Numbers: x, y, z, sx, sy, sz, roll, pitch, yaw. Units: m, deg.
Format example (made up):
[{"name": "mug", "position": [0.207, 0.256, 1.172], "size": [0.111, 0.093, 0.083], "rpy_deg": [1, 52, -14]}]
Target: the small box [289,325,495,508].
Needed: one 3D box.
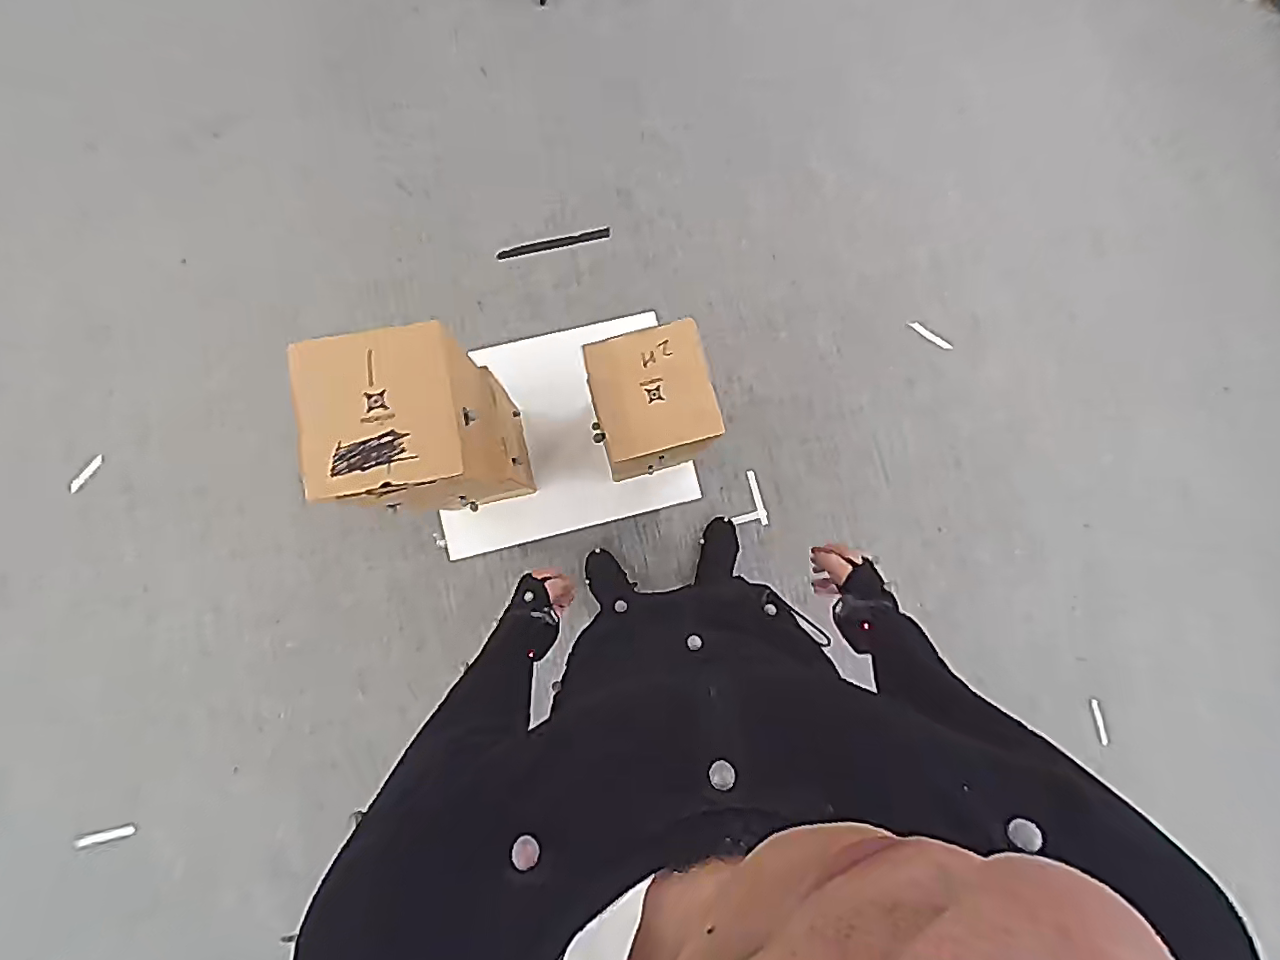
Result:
[{"name": "small box", "position": [-0.283, -0.063, 0.652], "size": [0.168, 0.176, 0.179], "rpy_deg": [-10, 85, -4]}]

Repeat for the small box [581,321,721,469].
[{"name": "small box", "position": [0.013, -0.118, 0.837], "size": [0.168, 0.176, 0.179], "rpy_deg": [-15, 86, -4]}]

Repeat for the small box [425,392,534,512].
[{"name": "small box", "position": [-0.297, -0.043, 0.981], "size": [0.168, 0.176, 0.179], "rpy_deg": [-13, 86, -5]}]

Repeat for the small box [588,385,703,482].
[{"name": "small box", "position": [0.004, -0.105, 1.002], "size": [0.168, 0.176, 0.179], "rpy_deg": [-16, 86, -3]}]
